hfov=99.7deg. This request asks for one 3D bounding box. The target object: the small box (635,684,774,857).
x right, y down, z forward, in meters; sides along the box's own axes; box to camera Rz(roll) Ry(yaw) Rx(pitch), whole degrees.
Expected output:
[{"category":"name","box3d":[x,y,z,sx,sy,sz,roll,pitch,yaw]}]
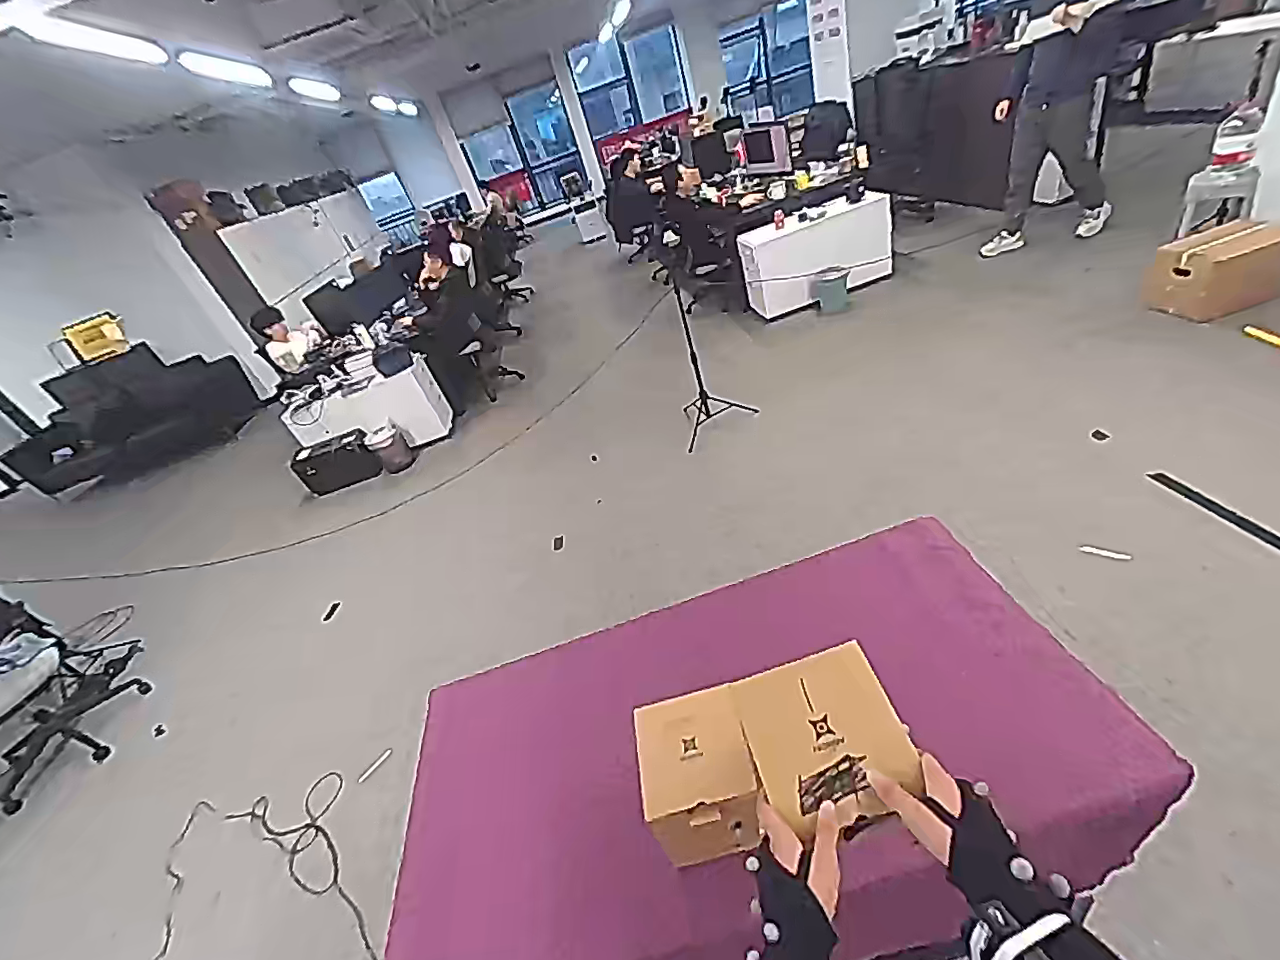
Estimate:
[{"category":"small box","box3d":[0.101,0.462,0.854,0.168,0.176,0.179,-17,33,4]}]

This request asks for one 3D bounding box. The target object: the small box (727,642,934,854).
[{"category":"small box","box3d":[0.221,0.330,0.654,0.168,0.176,0.179,-21,48,3]}]
